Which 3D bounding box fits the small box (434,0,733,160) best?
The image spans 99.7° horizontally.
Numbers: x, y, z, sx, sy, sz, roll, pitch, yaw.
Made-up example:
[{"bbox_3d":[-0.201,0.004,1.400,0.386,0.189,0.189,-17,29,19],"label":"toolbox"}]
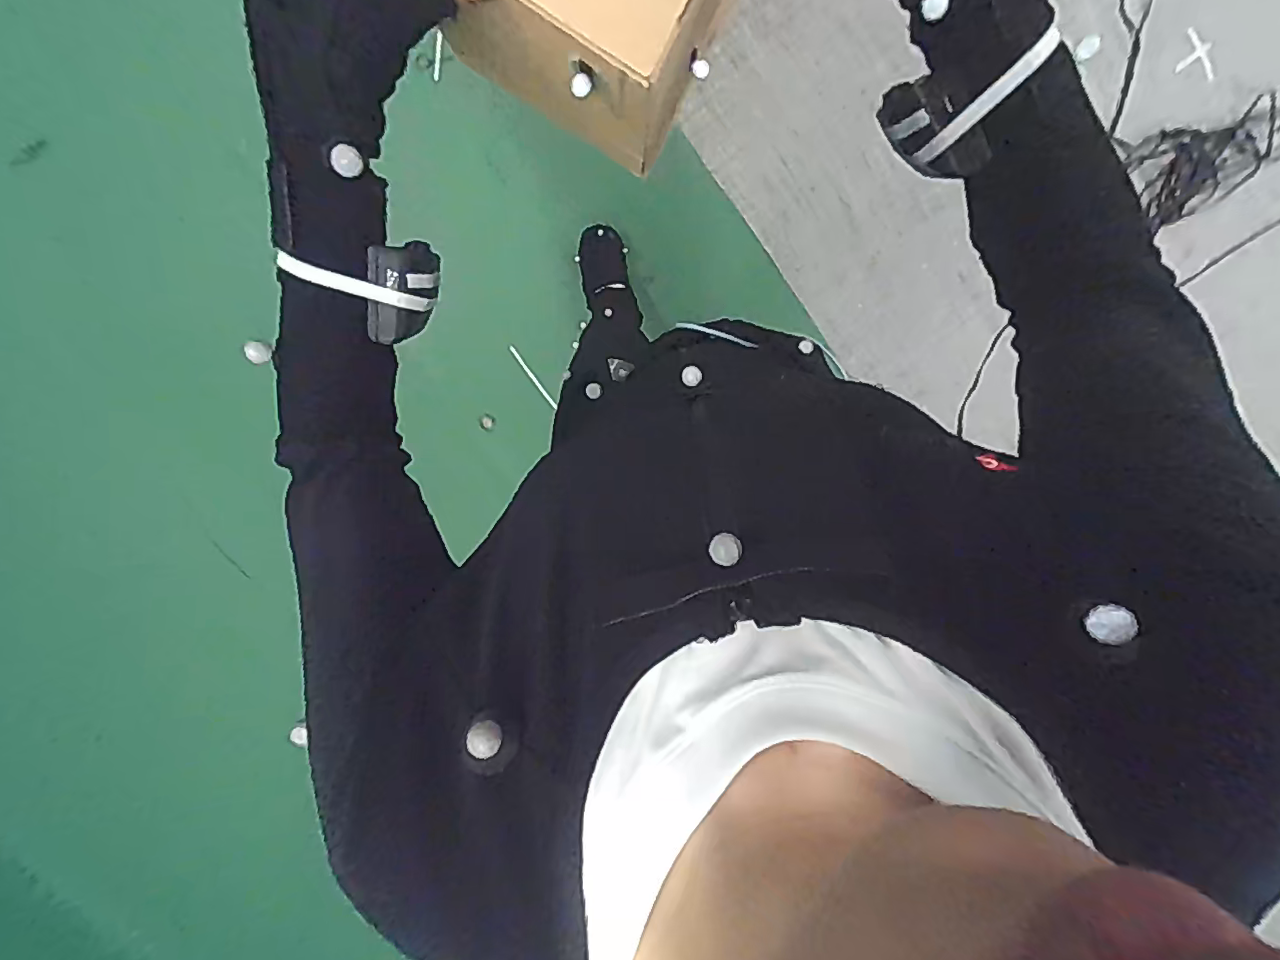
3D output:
[{"bbox_3d":[-0.033,-0.348,0.350,0.179,0.176,0.168,29,101,-8],"label":"small box"}]
